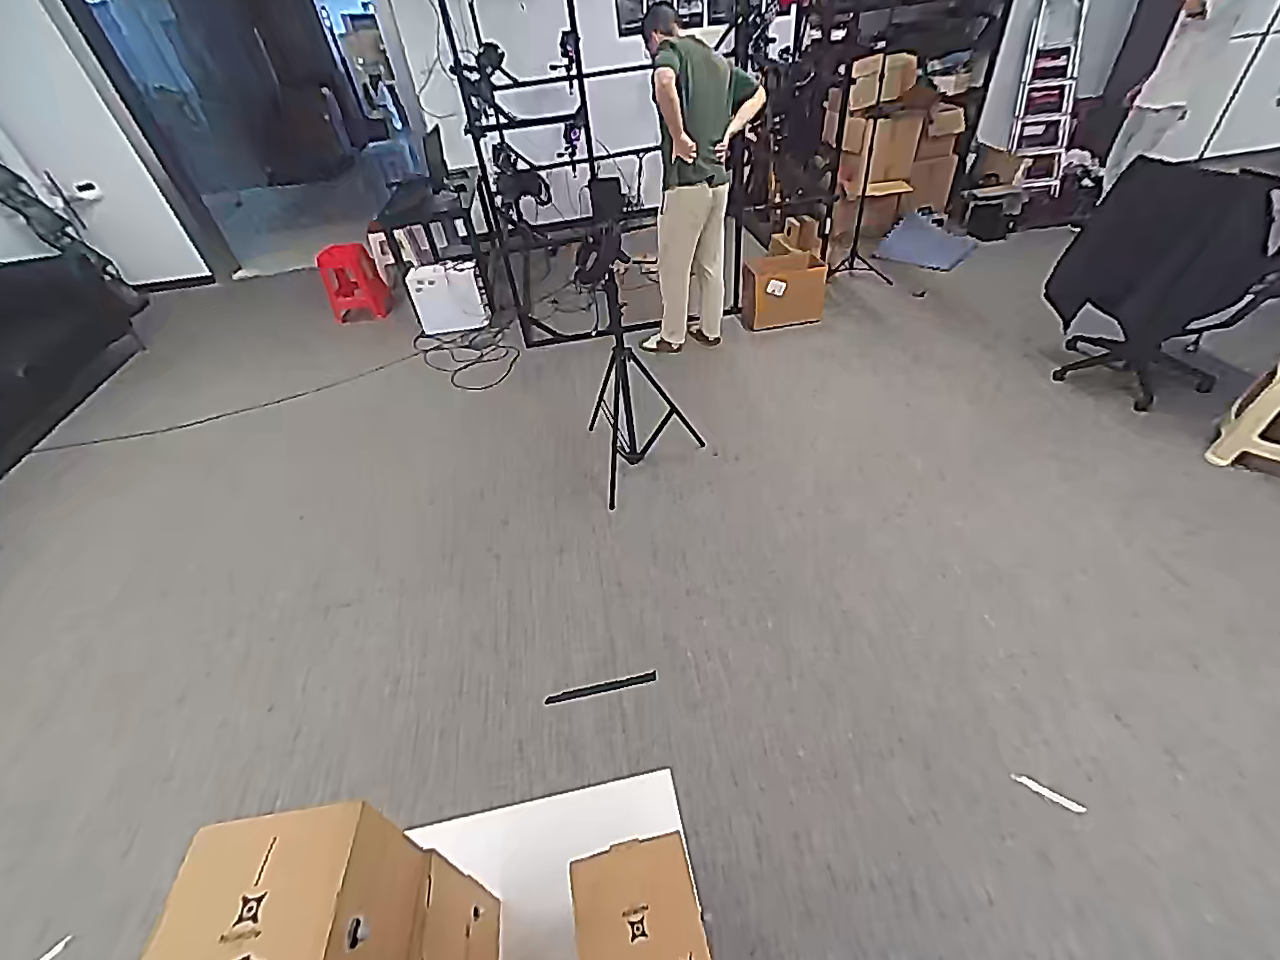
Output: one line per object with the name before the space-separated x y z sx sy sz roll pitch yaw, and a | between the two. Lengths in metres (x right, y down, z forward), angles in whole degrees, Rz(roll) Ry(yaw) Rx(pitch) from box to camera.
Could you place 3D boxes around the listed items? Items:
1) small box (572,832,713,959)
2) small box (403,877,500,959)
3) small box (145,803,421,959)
small box | 0.008 0.637 0.759 0.168 0.176 0.179 -13 41 -5
small box | -0.297 0.688 0.748 0.168 0.176 0.179 -10 41 -4
small box | -0.334 0.449 0.525 0.168 0.176 0.179 -8 41 -1
